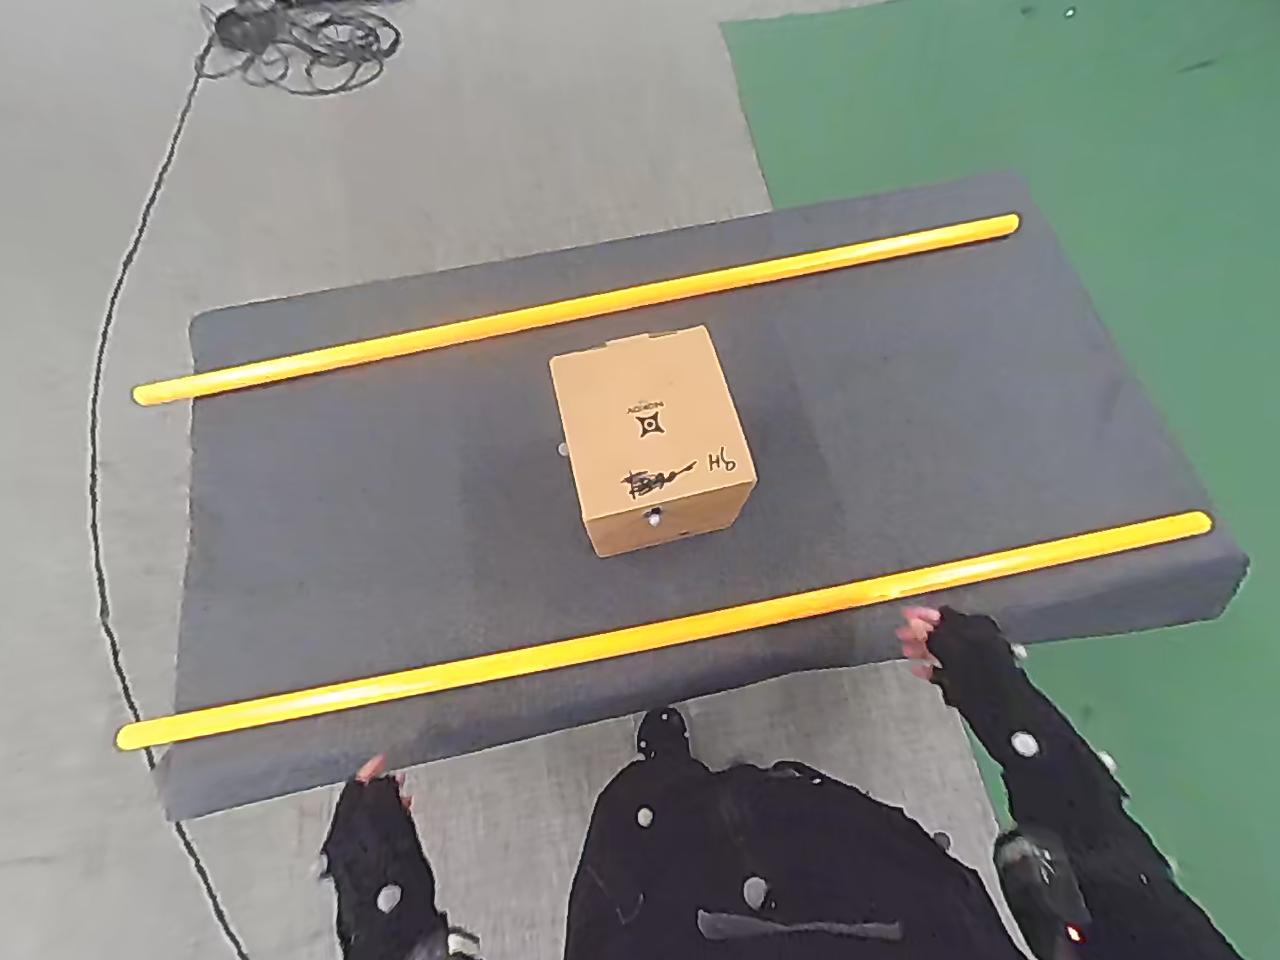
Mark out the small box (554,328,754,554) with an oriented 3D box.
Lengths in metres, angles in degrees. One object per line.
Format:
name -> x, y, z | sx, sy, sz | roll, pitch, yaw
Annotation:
small box -> 0.010, -0.034, 0.599 | 0.168, 0.176, 0.179 | -13, 70, -3
